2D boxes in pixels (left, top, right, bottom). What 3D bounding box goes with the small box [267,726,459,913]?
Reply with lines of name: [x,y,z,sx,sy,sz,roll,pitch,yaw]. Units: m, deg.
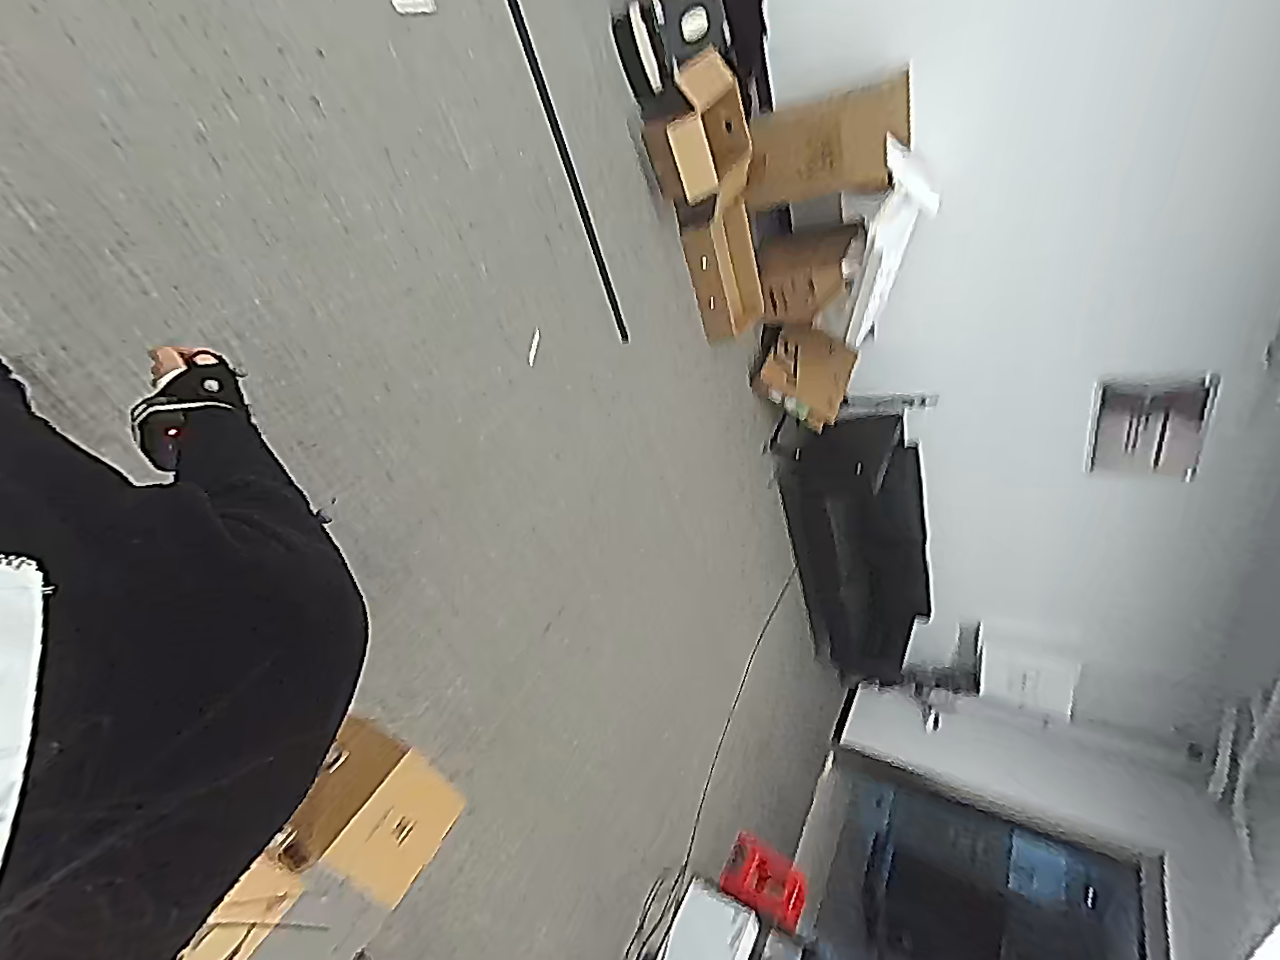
small box: [-0.431,0.520,0.851,0.168,0.176,0.179,-51,130,-40]

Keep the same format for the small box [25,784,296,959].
small box: [-0.576,0.504,0.655,0.168,0.176,0.179,-49,128,-38]

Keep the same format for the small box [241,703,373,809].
small box: [-0.552,0.527,0.961,0.168,0.176,0.179,-50,130,-40]
